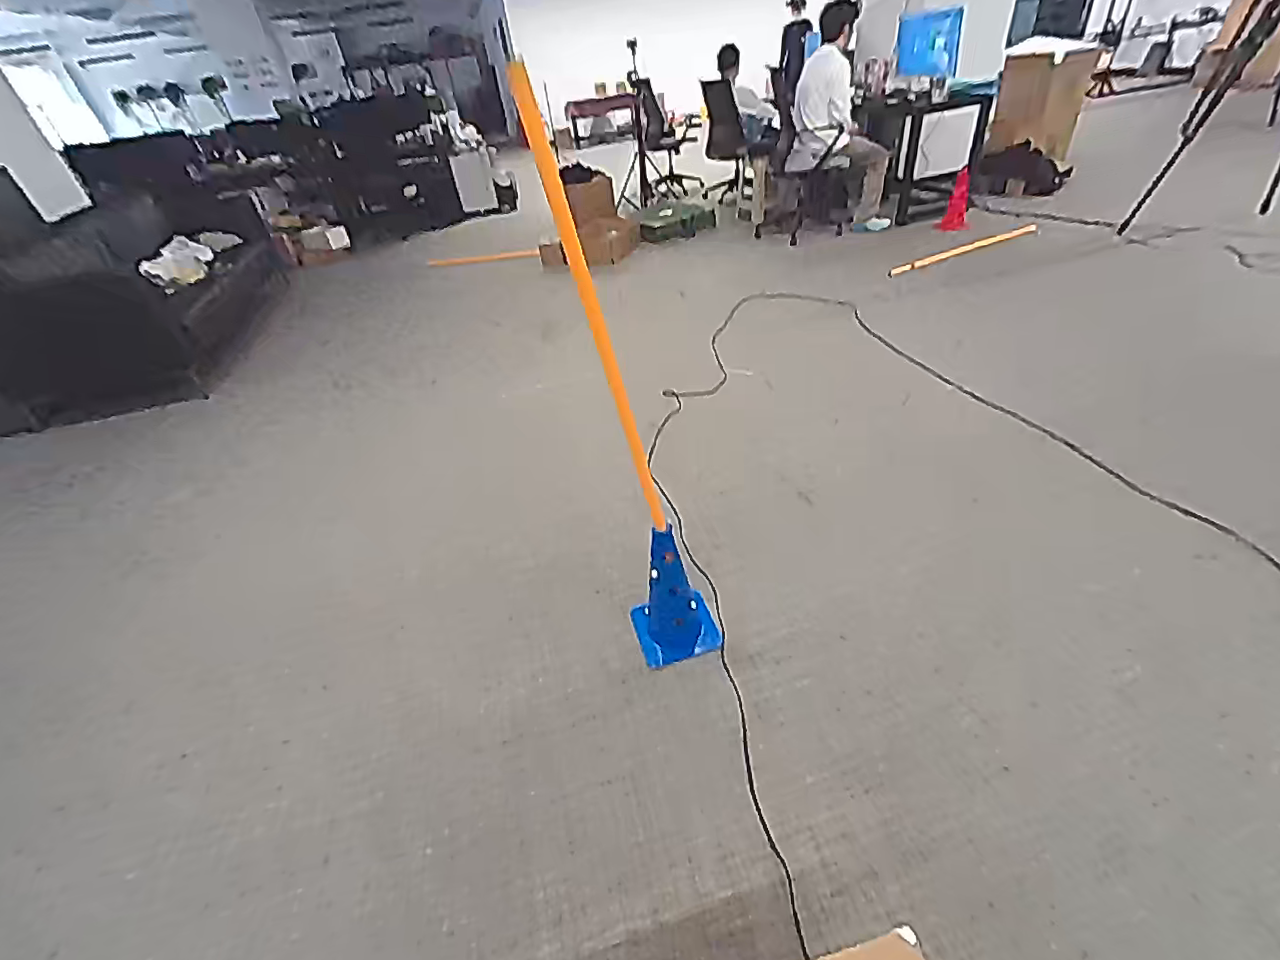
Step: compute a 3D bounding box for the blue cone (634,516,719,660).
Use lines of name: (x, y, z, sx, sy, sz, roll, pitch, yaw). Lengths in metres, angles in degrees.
blue cone: (0.069, 0.241, 1.293, 0.193, 0.380, 0.192, -18, 38, -9)
